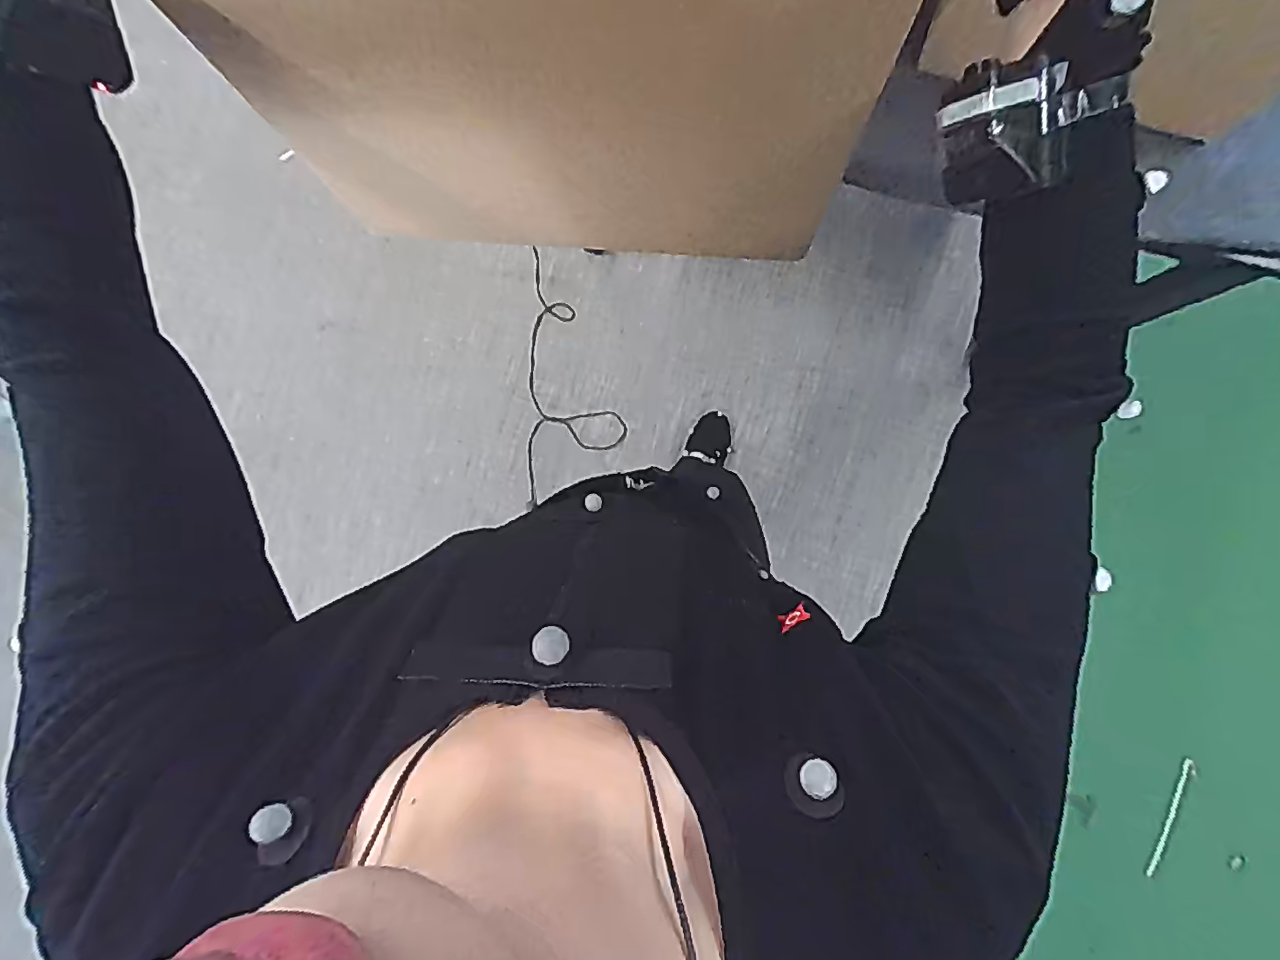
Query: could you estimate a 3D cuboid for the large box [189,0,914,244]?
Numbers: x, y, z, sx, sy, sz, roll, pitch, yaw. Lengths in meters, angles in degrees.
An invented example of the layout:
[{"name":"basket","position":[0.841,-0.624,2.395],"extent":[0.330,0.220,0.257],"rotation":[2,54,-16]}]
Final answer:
[{"name":"large box","position":[-0.045,-0.392,0.365],"extent":[0.408,0.320,0.320],"rotation":[5,83,2]}]
